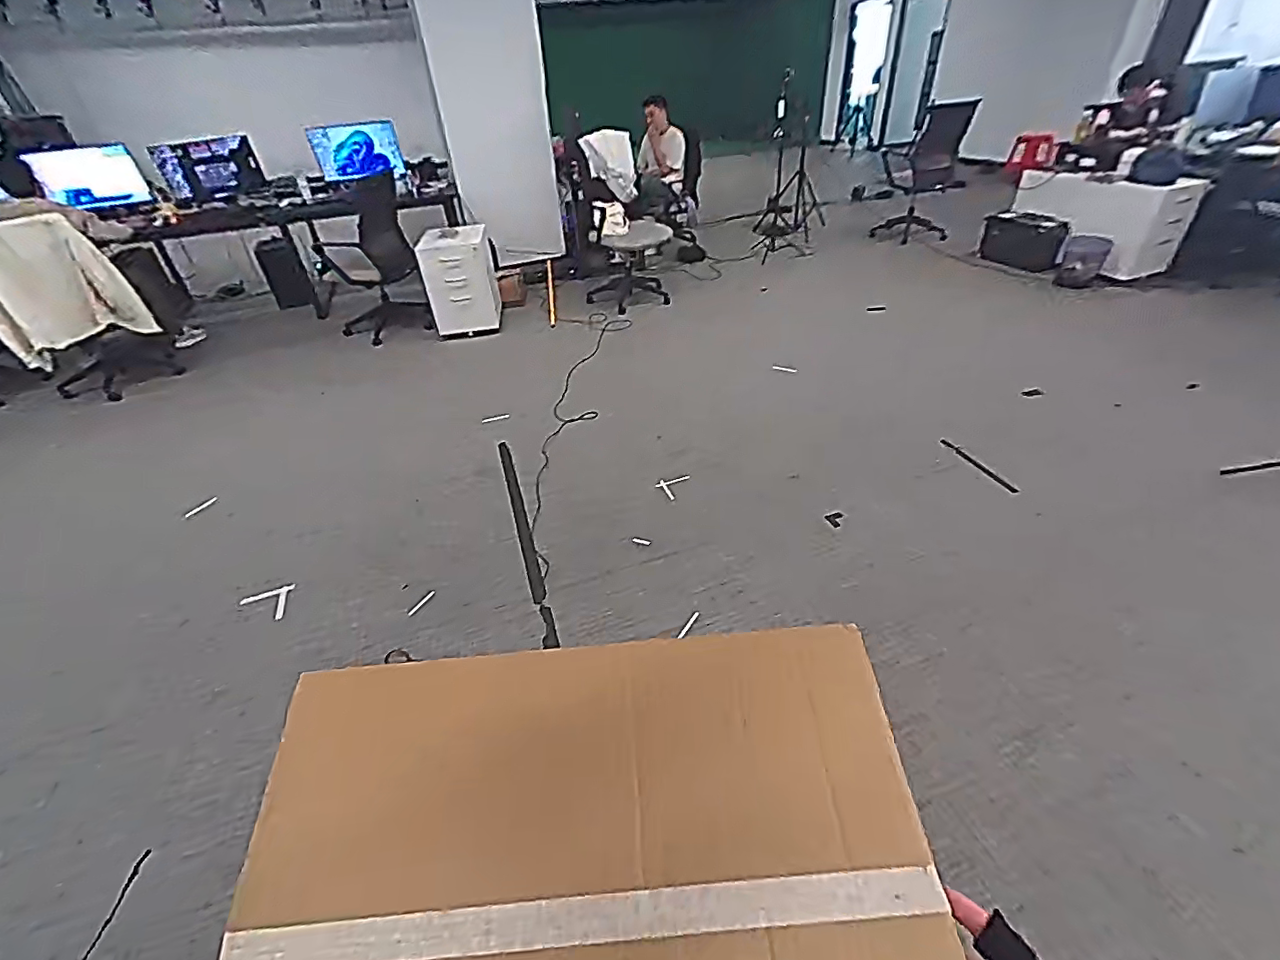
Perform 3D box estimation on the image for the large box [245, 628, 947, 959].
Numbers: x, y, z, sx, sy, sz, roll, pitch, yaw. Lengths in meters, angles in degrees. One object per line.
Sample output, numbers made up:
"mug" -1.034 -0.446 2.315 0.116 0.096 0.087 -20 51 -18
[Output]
"large box" -0.025 0.341 0.435 0.408 0.320 0.320 -6 55 0
